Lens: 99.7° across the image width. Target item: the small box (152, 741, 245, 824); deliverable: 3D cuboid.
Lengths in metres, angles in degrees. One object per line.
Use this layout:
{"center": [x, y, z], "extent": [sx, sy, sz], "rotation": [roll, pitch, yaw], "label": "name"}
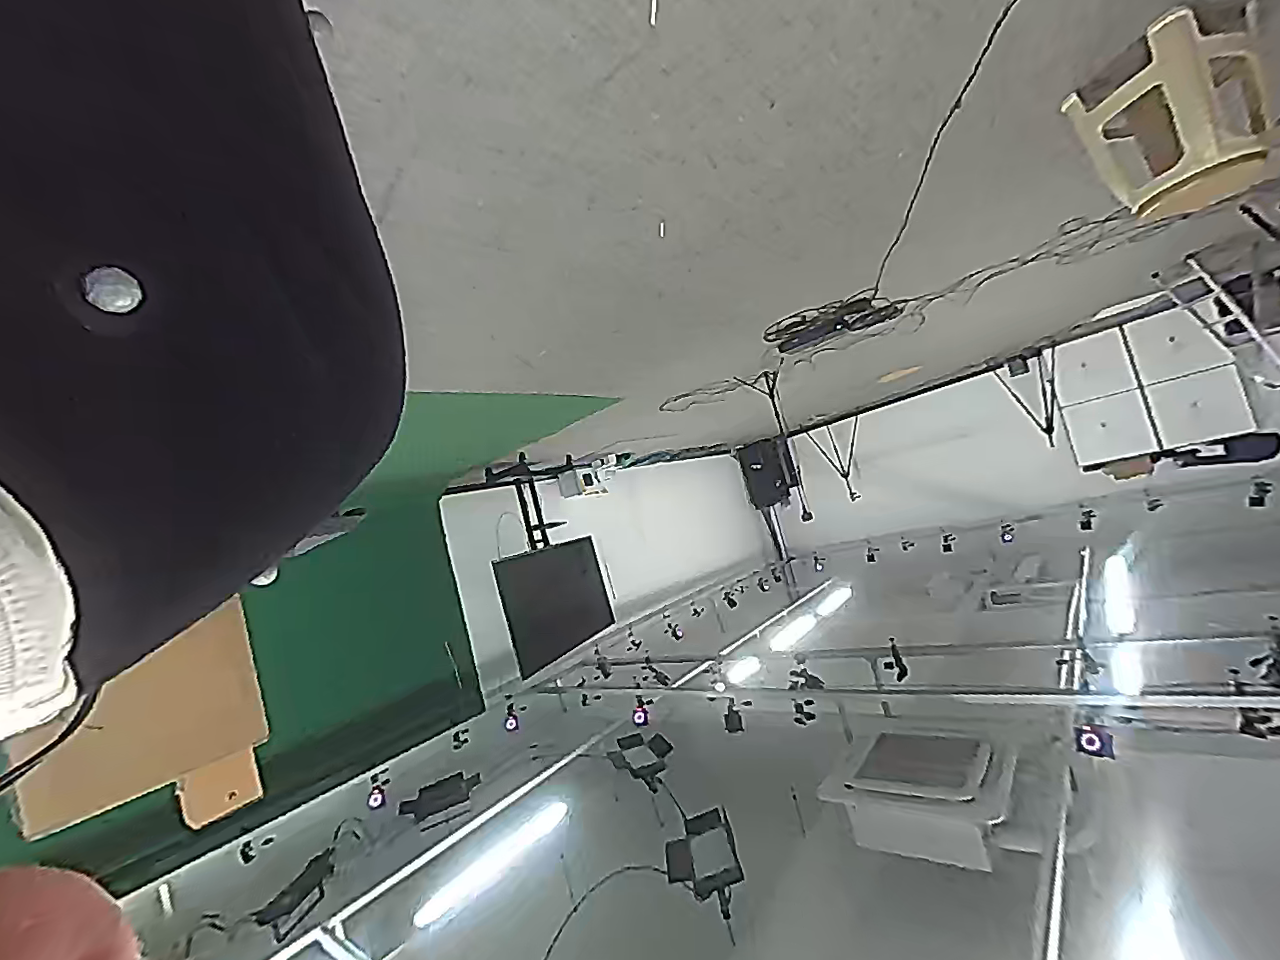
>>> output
{"center": [-1.394, 0.947, 1.706], "extent": [0.168, 0.176, 0.179], "rotation": [-22, 173, 35], "label": "small box"}
